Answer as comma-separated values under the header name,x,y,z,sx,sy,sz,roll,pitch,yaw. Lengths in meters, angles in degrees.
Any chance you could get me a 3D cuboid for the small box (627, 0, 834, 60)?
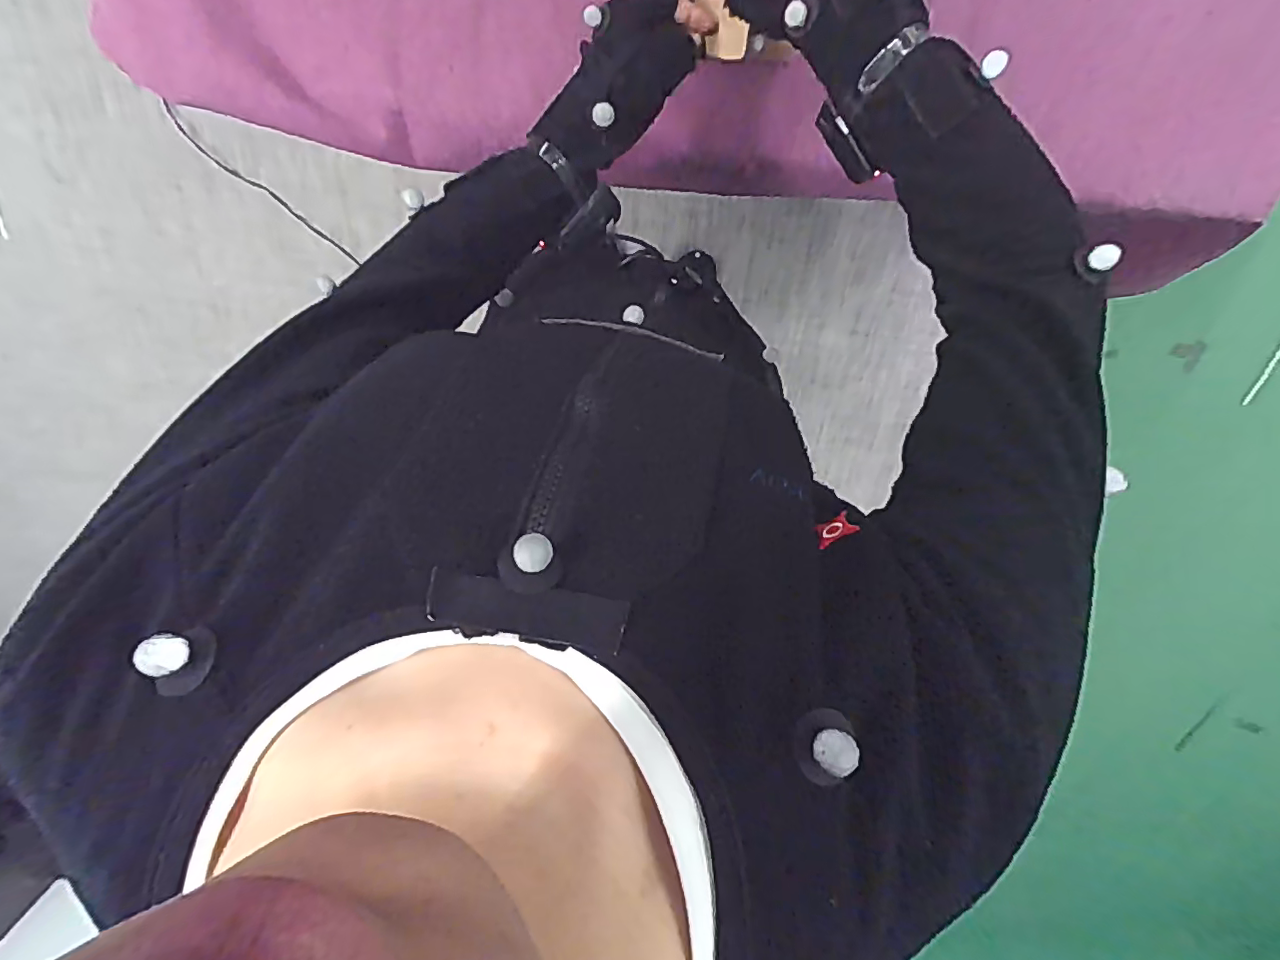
name,x,y,z,sx,sy,sz,roll,pitch,yaw
small box,0.079,-0.470,0.434,0.168,0.176,0.179,7,115,0
